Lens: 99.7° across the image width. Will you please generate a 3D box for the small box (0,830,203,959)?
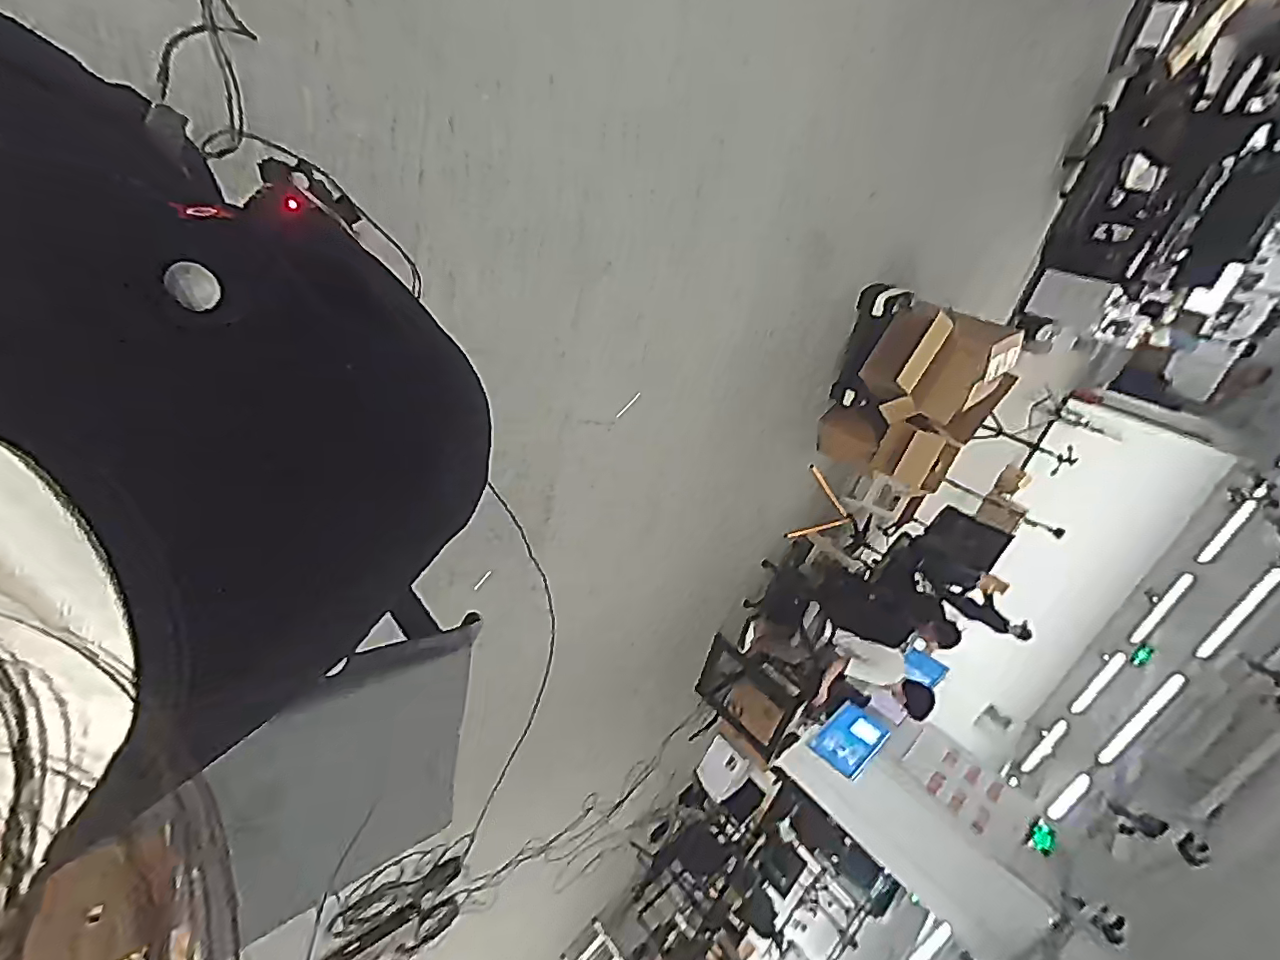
[{"bbox_3d":[-0.723,0.634,0.734,0.179,0.176,0.168,-16,129,-39],"label":"small box"}]
